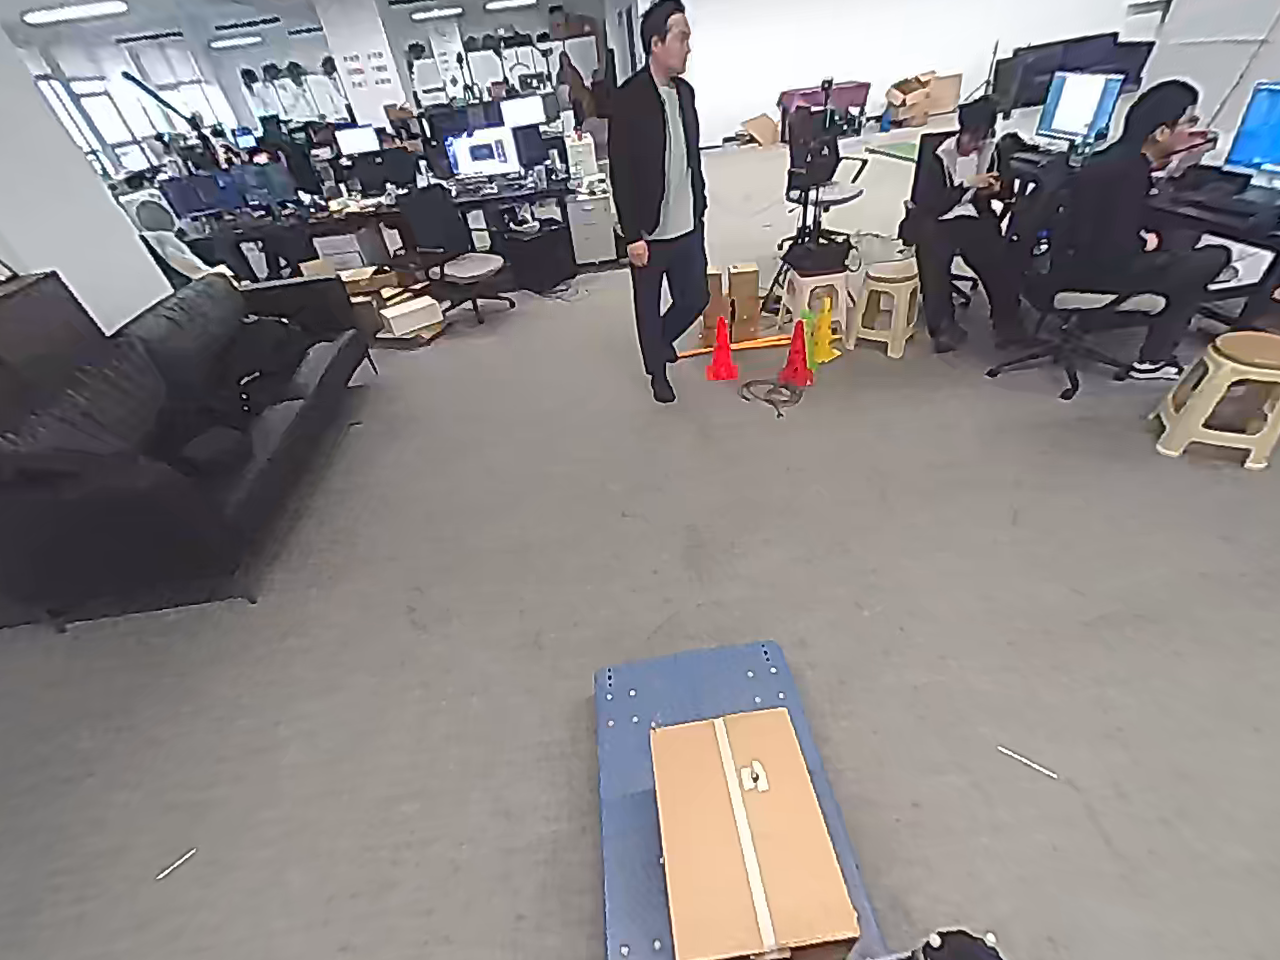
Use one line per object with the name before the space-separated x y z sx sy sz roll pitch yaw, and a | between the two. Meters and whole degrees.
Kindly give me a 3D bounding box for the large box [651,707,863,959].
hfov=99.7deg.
large box | 0.216 0.762 1.127 0.320 0.320 0.408 -9 38 -1
